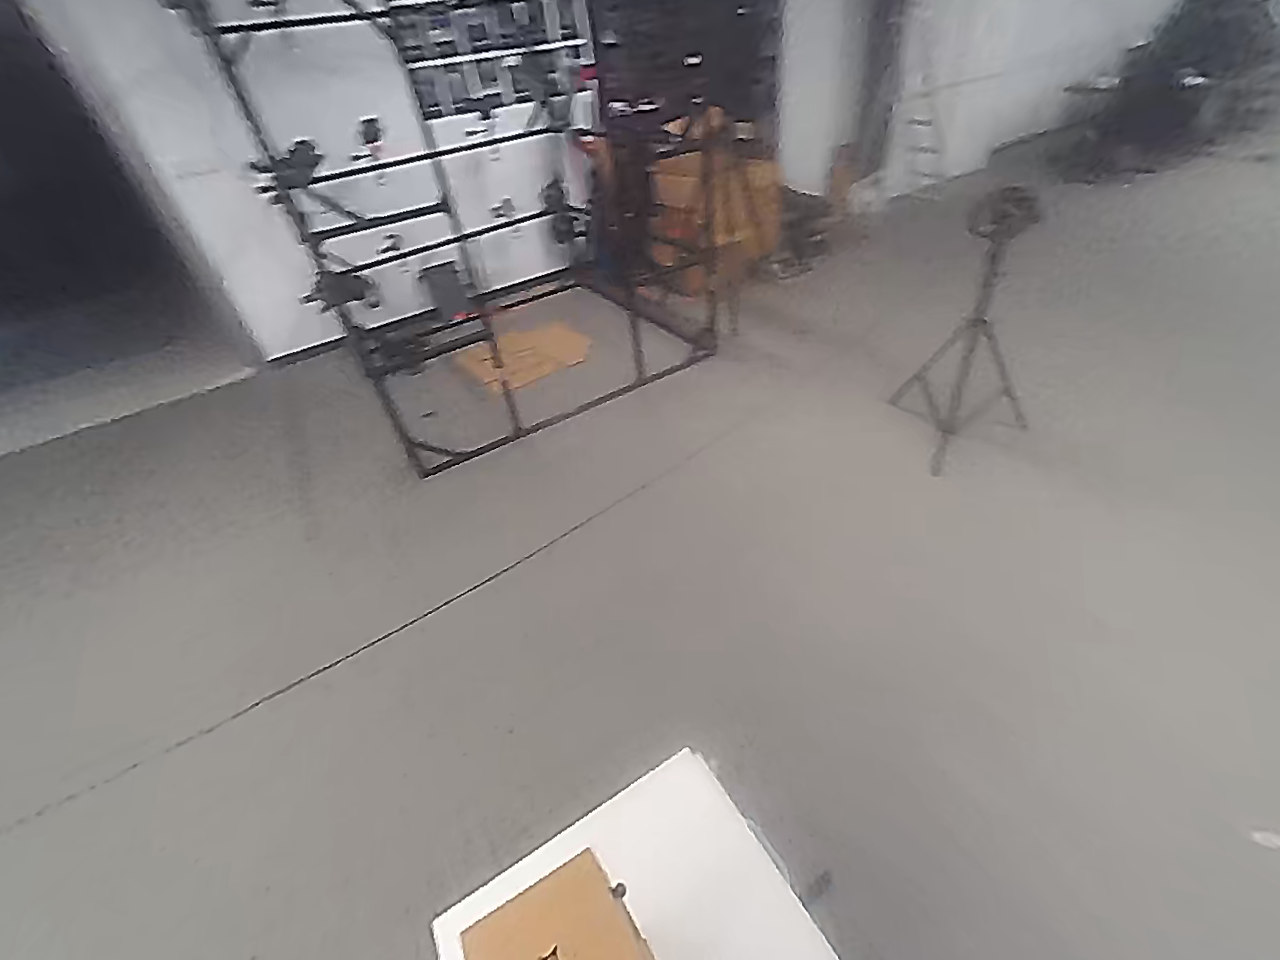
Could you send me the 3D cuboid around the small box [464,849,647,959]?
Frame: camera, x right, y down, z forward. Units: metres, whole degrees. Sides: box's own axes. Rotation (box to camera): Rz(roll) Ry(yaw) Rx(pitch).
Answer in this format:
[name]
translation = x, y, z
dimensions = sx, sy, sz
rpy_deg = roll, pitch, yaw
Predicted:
[small box]
translation = -0.076, 0.577, 0.611
dimensions = 0.168, 0.176, 0.179
rpy_deg = -25, 40, -17
